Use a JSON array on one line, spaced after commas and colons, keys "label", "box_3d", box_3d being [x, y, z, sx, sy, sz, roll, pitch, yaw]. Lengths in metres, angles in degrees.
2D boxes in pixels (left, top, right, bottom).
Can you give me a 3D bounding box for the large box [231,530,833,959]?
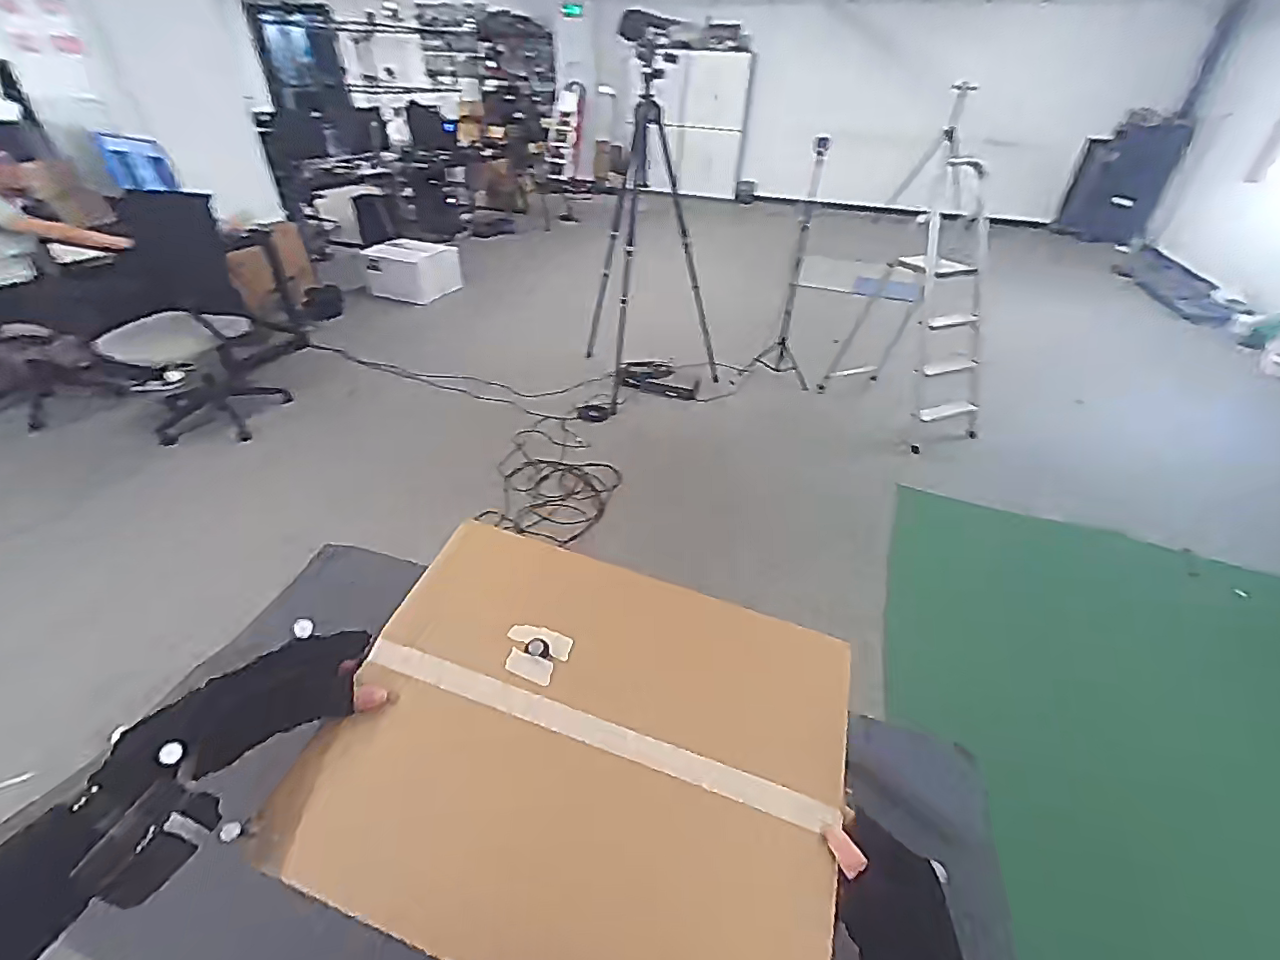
[{"label": "large box", "box_3d": [-0.056, 0.304, 0.547, 0.408, 0.320, 0.320, 15, 48, 11]}]
